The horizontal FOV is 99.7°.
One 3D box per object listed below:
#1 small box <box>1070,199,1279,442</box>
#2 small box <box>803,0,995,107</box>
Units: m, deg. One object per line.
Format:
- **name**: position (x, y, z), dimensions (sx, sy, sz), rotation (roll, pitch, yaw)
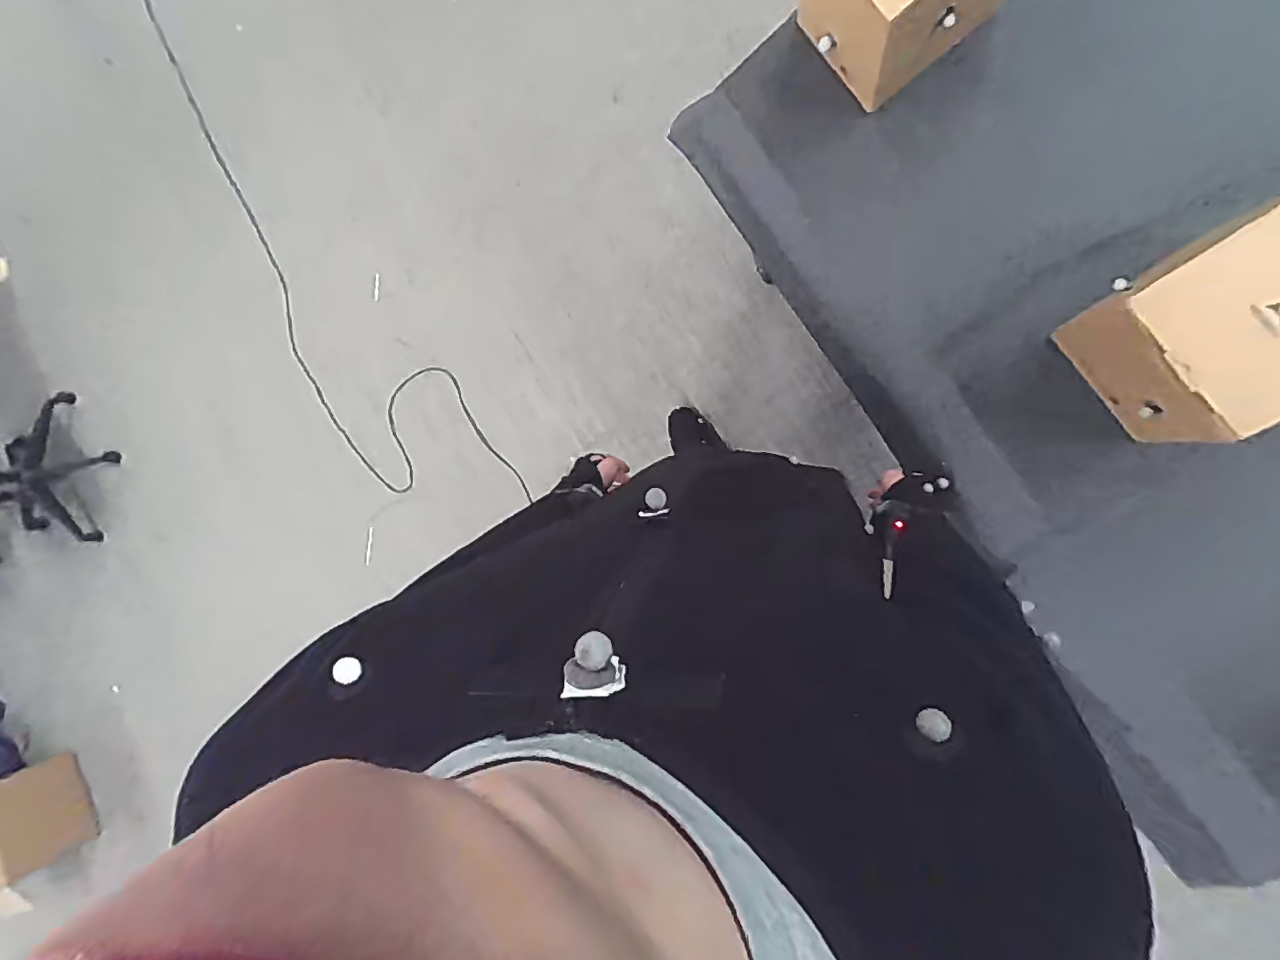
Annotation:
- **small box**: position (0.586, -0.151, 0.544), dimensions (0.179, 0.176, 0.168), rotation (-36, 85, 15)
- **small box**: position (0.295, -0.576, 0.597), dimensions (0.179, 0.176, 0.168), rotation (-35, 84, 16)
